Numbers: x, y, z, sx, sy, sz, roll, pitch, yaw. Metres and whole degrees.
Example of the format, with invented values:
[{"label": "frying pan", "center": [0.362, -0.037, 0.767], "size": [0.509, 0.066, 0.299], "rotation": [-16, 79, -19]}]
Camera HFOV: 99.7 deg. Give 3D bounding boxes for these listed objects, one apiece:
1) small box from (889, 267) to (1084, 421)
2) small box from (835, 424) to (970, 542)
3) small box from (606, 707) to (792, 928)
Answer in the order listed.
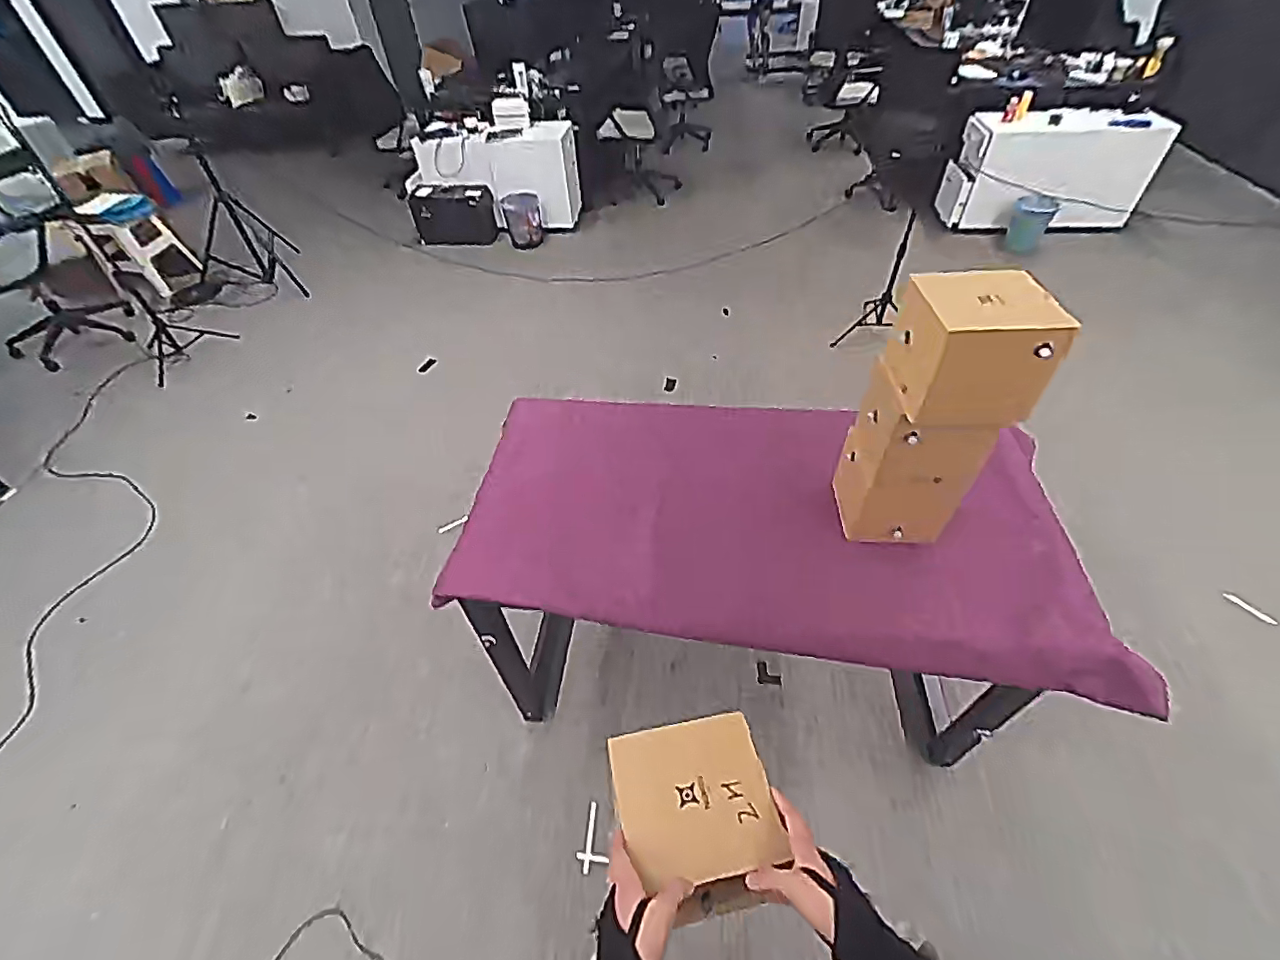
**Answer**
[{"label": "small box", "center": [0.497, -0.202, 0.815], "size": [0.179, 0.176, 0.168], "rotation": [-1, 46, 2]}, {"label": "small box", "center": [0.504, 0.009, 1.067], "size": [0.179, 0.176, 0.168], "rotation": [1, 47, 4]}, {"label": "small box", "center": [0.060, 0.406, 0.652], "size": [0.179, 0.176, 0.168], "rotation": [-7, 42, -9]}]
